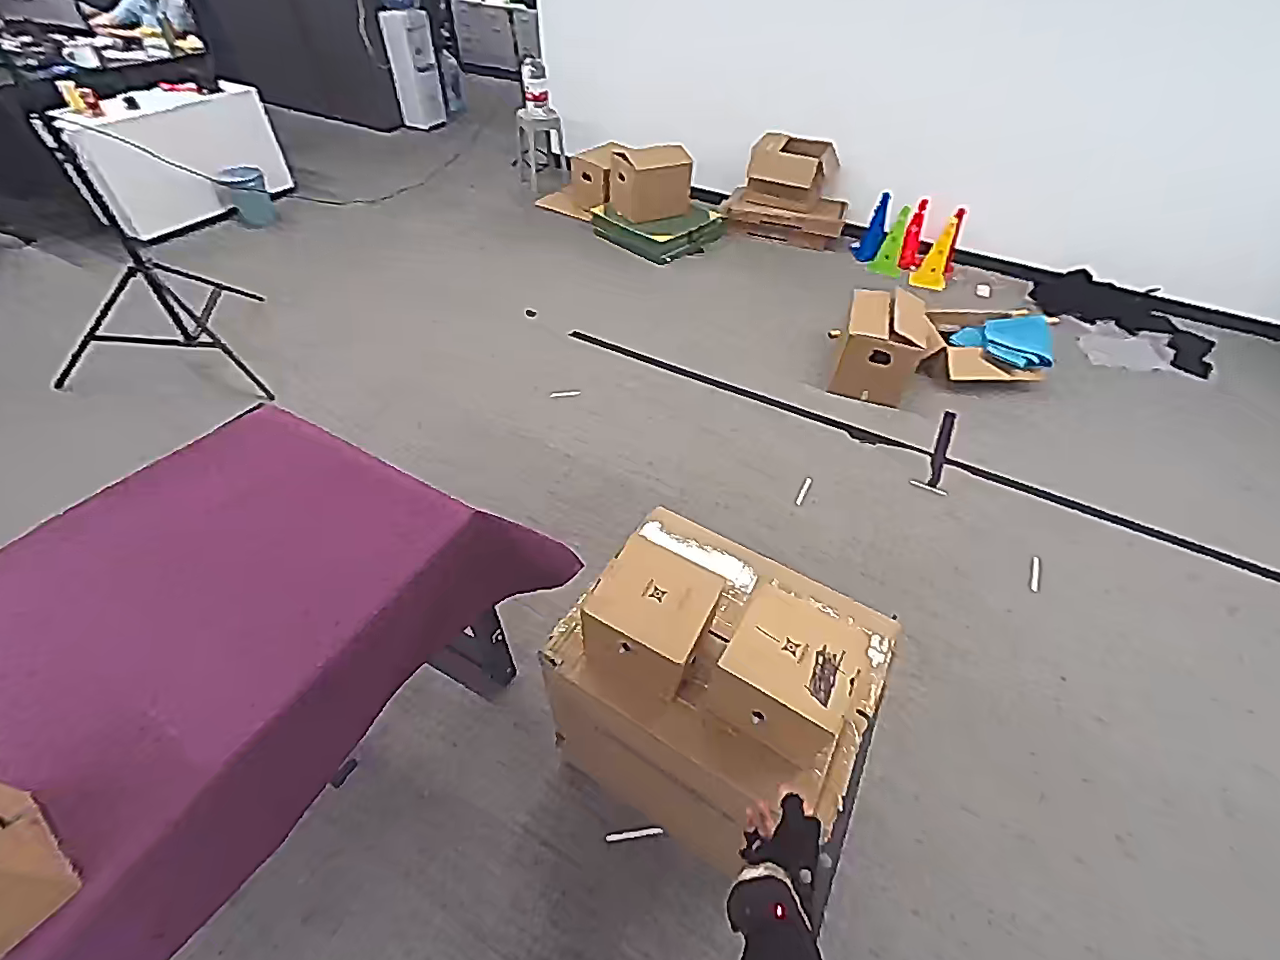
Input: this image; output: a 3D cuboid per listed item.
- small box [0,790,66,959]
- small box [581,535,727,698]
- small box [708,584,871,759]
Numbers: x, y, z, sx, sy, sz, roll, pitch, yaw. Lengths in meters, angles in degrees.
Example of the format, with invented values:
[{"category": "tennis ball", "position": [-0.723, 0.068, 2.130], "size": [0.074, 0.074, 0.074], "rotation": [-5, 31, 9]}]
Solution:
[{"category": "small box", "position": [-0.740, 0.420, 0.534], "size": [0.168, 0.176, 0.179], "rotation": [28, 51, 22]}, {"category": "small box", "position": [0.020, 0.229, 0.894], "size": [0.179, 0.176, 0.168], "rotation": [25, 52, 17]}, {"category": "small box", "position": [0.223, 0.300, 0.836], "size": [0.179, 0.176, 0.168], "rotation": [25, 52, 22]}]
